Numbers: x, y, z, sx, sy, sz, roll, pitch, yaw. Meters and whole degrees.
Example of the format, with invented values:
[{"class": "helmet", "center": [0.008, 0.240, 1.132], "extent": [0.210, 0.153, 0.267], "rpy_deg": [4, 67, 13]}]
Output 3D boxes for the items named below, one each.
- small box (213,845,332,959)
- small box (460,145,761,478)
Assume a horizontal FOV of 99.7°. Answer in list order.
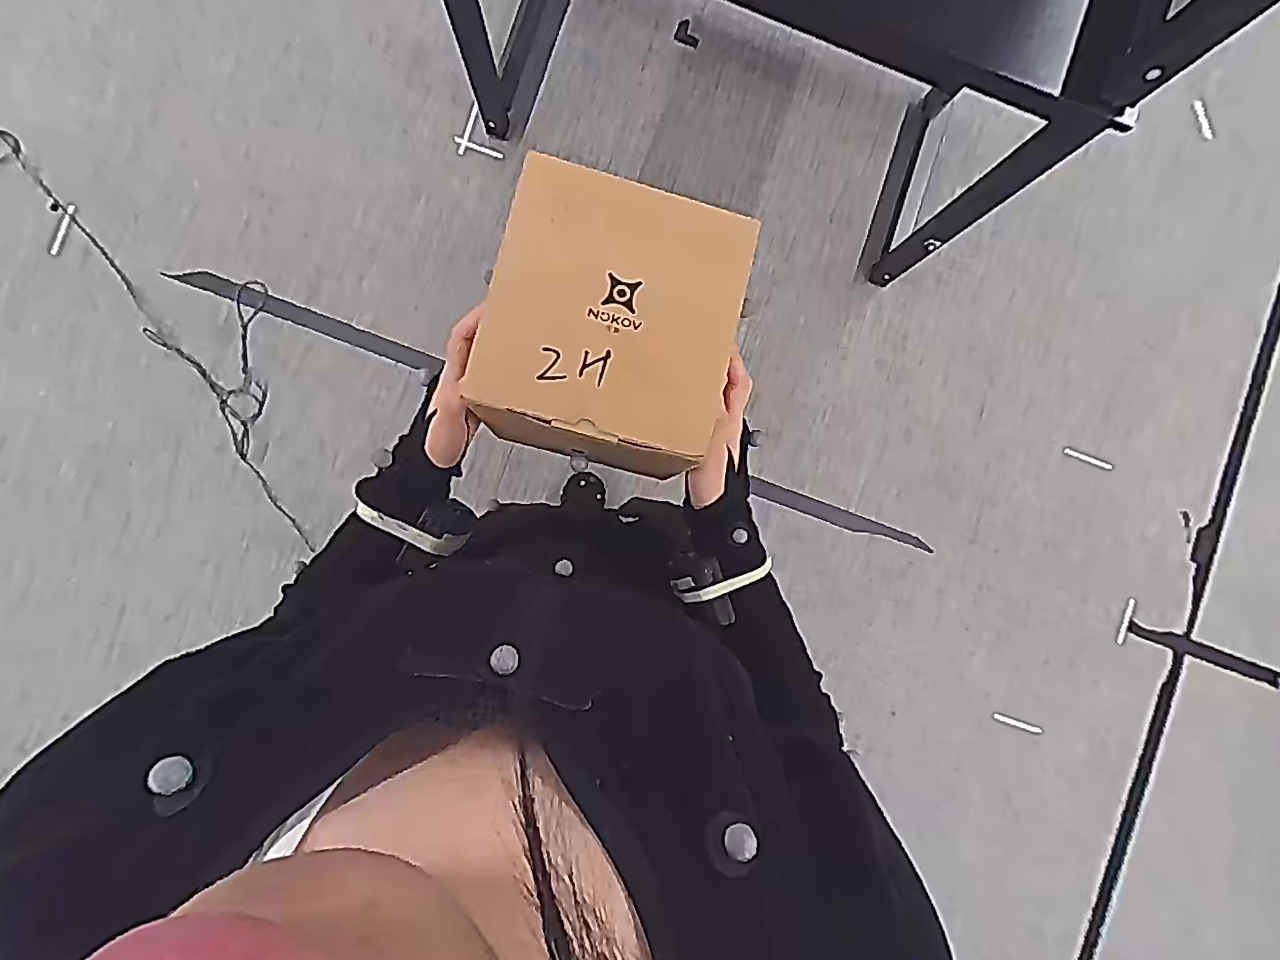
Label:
[{"class": "small box", "center": [-0.892, 1.044, 1.330], "extent": [0.168, 0.176, 0.179], "rpy_deg": [13, 89, -4]}, {"class": "small box", "center": [-0.024, -0.109, 0.429], "extent": [0.168, 0.176, 0.179], "rpy_deg": [14, 84, -5]}]
